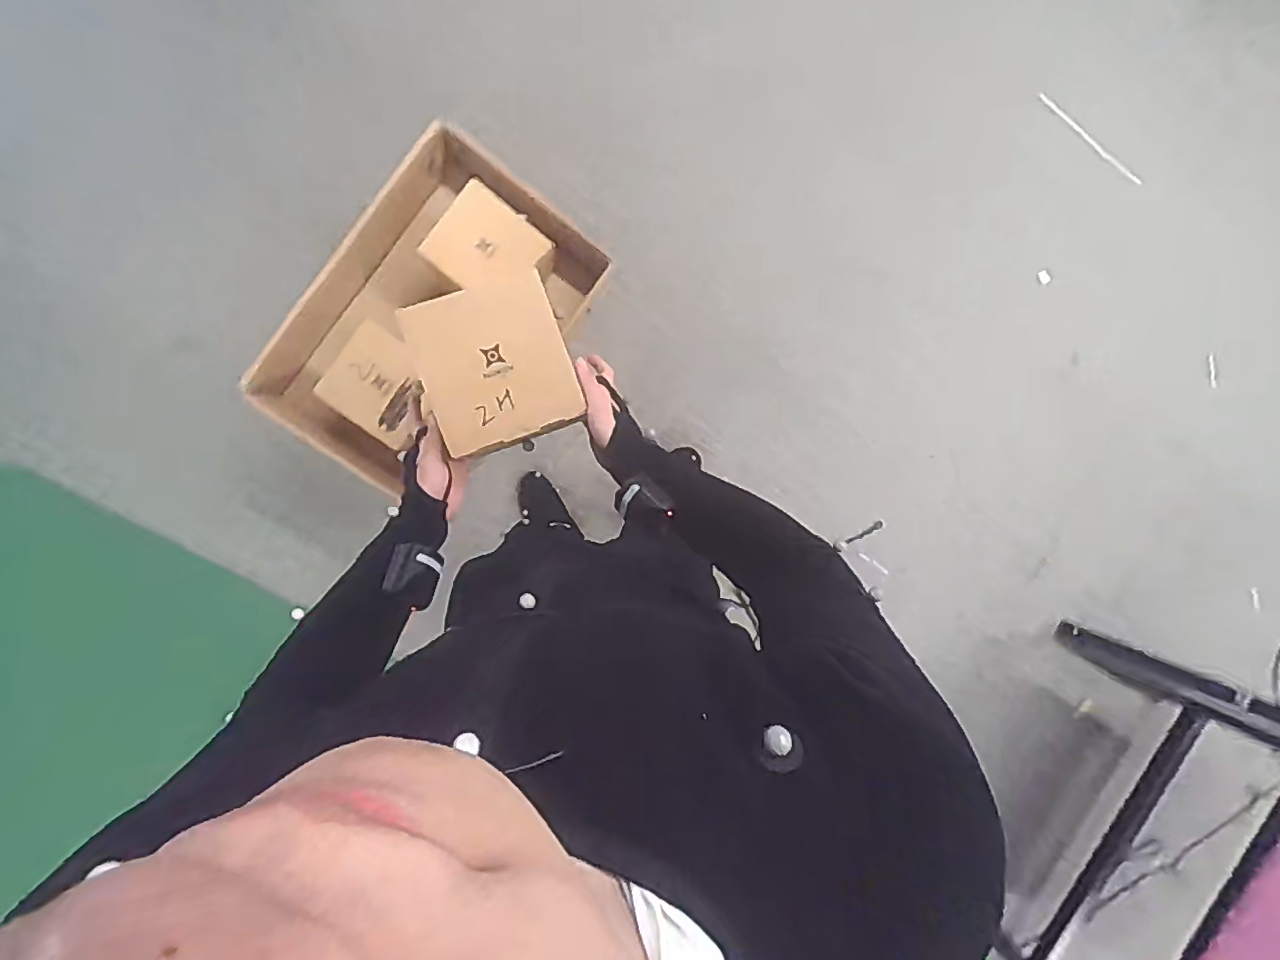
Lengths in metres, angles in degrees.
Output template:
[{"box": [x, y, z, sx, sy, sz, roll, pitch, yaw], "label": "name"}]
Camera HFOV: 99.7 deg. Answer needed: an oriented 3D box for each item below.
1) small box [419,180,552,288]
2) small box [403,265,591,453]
[{"box": [-0.287, -0.423, 1.041, 0.179, 0.176, 0.168, 37, 90, -11], "label": "small box"}, {"box": [-0.170, -0.139, 0.682, 0.168, 0.176, 0.179, -19, 95, -7], "label": "small box"}]
